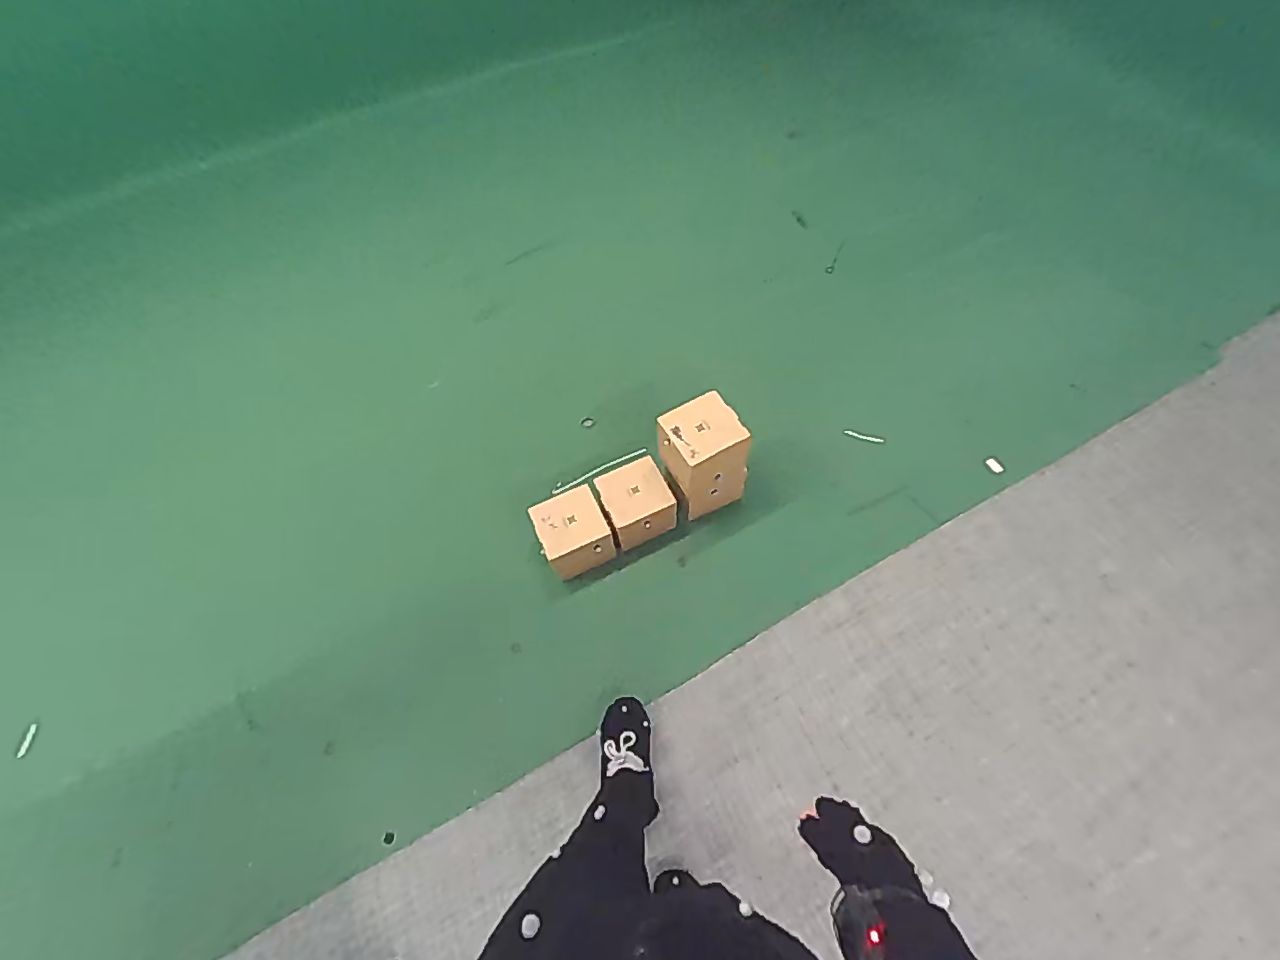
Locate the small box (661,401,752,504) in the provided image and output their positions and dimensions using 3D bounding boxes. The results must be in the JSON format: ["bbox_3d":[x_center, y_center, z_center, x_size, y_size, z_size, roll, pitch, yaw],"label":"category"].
[{"bbox_3d":[0.163,-0.069,1.400,0.179,0.176,0.168,-26,62,-12],"label":"small box"}]
